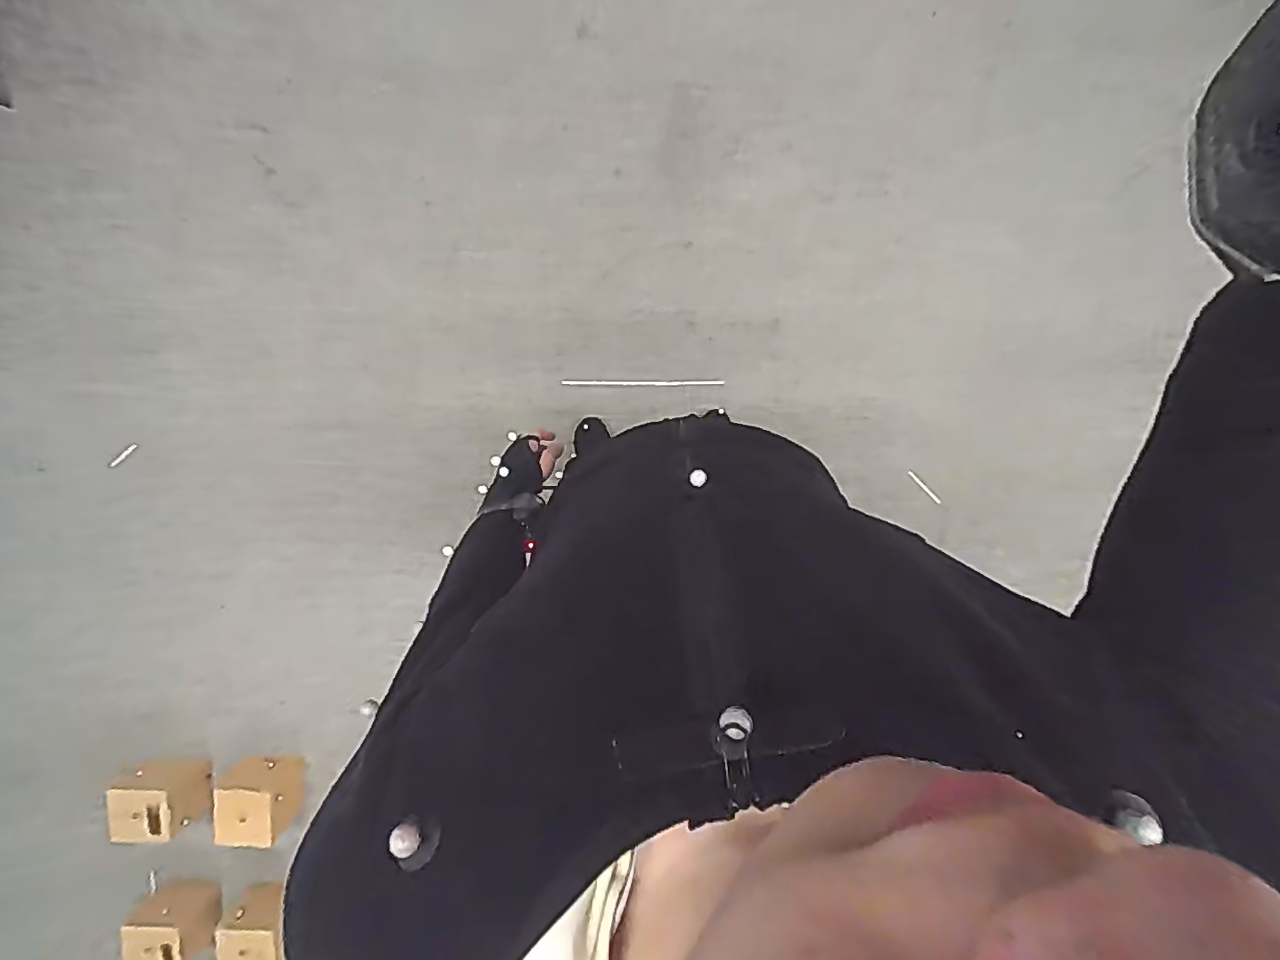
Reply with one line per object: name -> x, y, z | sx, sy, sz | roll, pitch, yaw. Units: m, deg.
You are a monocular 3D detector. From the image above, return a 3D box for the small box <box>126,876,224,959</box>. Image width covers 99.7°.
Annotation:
small box -> -1.445, 1.385, 1.694 | 0.179, 0.176, 0.168 | 3, 96, 0

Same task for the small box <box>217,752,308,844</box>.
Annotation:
small box -> -1.142, 0.965, 1.648 | 0.168, 0.176, 0.179 | 3, 96, 0

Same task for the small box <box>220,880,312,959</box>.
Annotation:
small box -> -1.167, 1.396, 1.695 | 0.179, 0.176, 0.168 | 2, 97, 0
